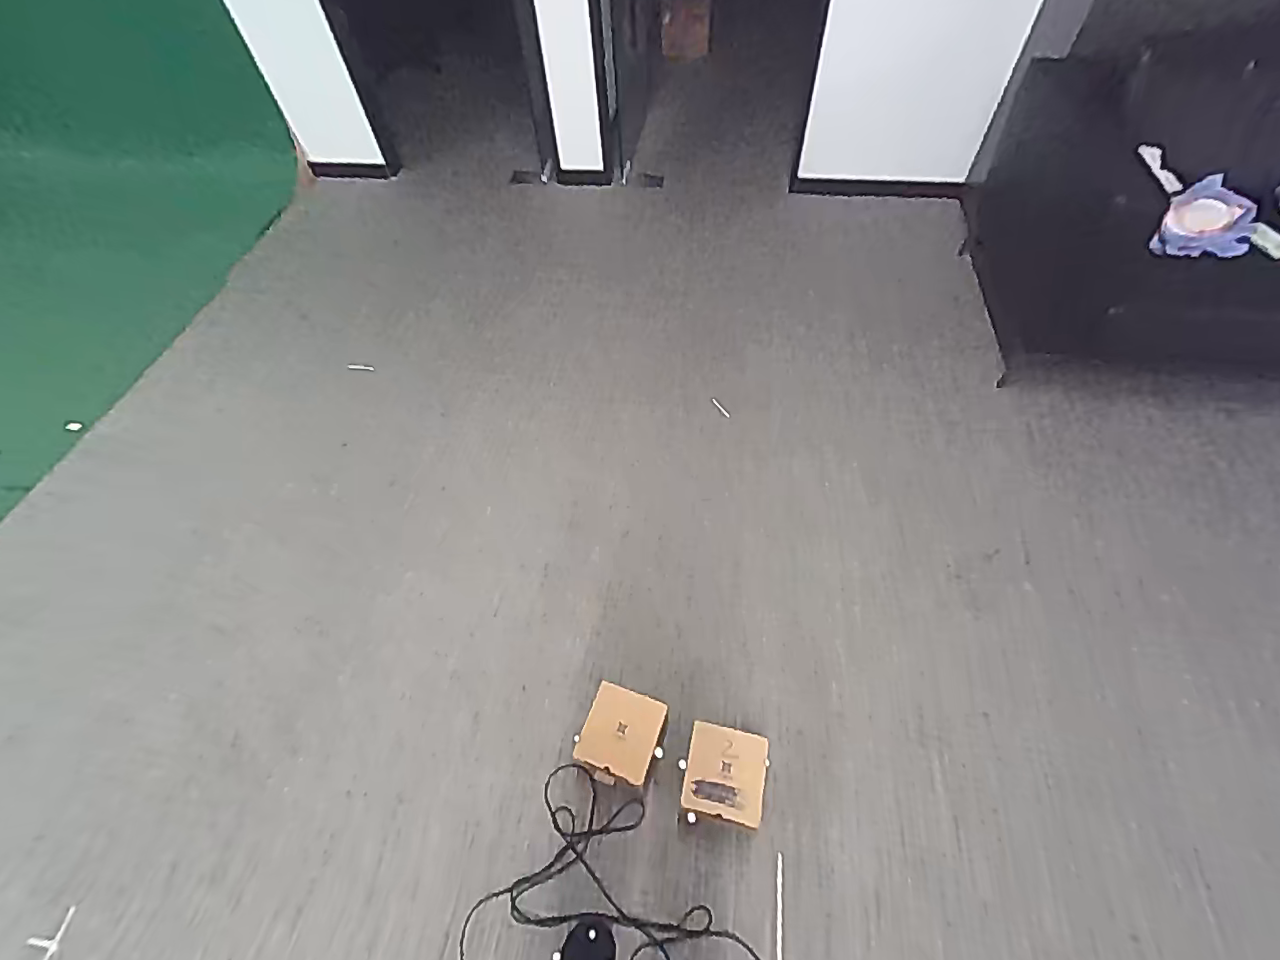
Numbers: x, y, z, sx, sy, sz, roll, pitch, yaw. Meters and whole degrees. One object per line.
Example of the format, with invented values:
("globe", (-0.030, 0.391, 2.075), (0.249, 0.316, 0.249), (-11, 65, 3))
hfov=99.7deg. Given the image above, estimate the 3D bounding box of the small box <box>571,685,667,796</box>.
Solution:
("small box", (-0.043, 0.612, 1.266), (0.168, 0.176, 0.179), (16, 58, 14))
